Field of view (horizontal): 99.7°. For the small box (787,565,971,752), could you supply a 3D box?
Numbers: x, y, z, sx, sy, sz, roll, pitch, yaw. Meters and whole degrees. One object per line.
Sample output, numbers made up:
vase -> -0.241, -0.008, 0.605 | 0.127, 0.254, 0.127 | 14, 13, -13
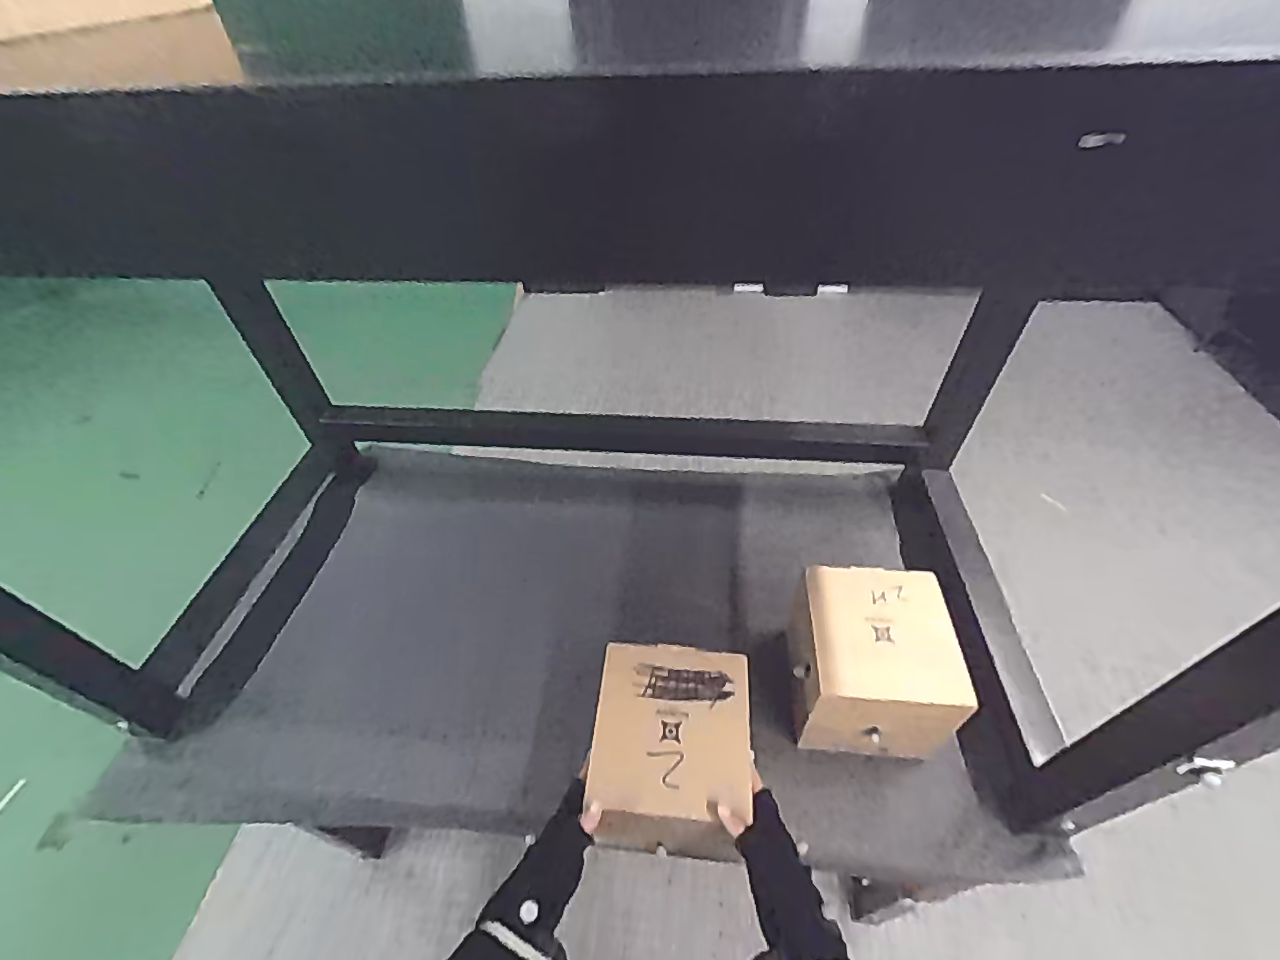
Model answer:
small box -> 0.290, 0.233, 0.704 | 0.168, 0.176, 0.179 | 2, 45, 6
